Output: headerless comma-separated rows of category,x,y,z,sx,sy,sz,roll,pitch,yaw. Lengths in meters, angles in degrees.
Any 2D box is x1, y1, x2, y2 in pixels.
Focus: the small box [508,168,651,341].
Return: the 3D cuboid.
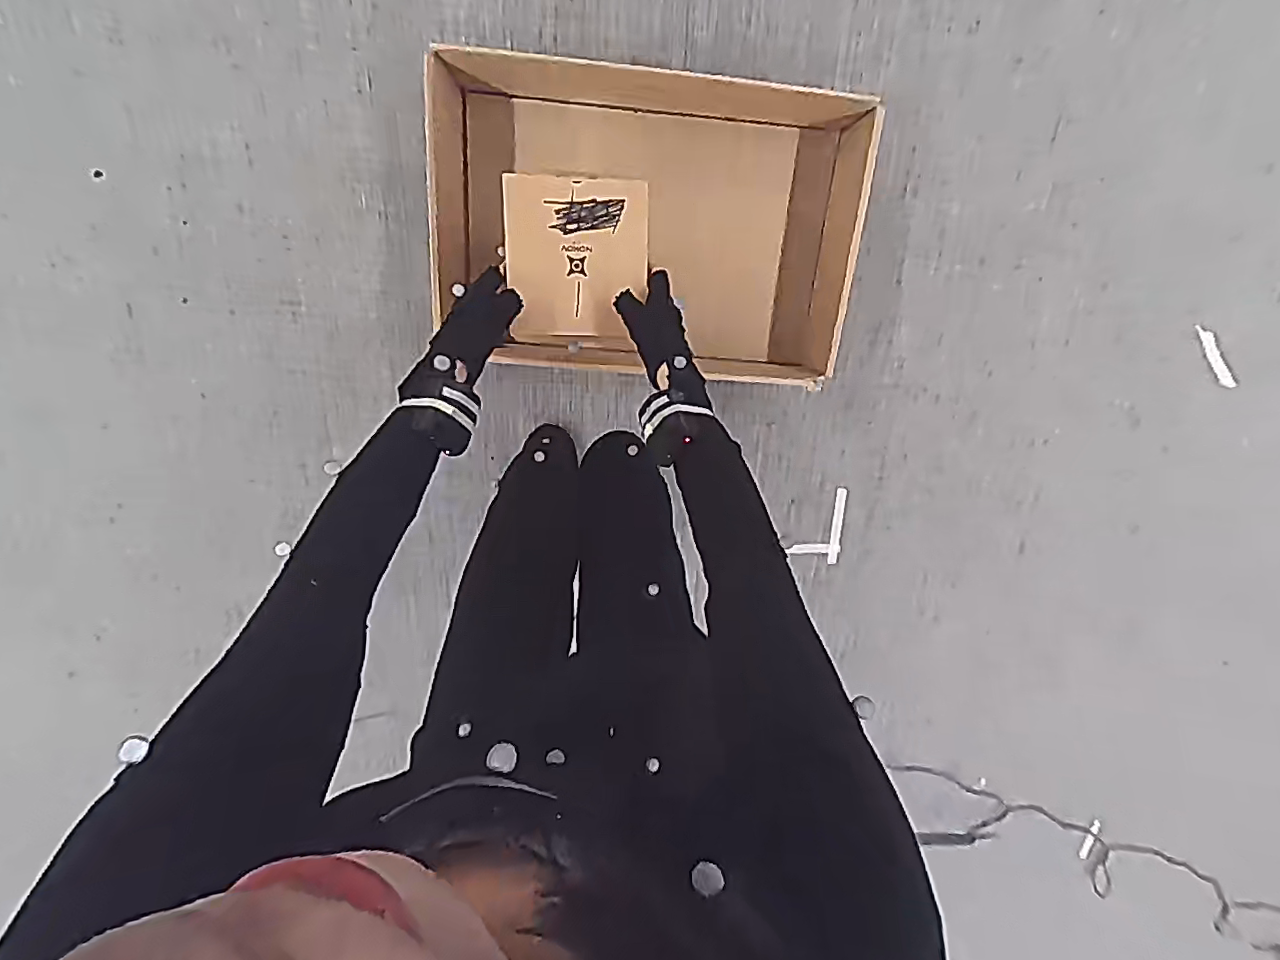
small box,-0.081,-0.277,0.703,0.168,0.176,0.179,-1,102,-8
